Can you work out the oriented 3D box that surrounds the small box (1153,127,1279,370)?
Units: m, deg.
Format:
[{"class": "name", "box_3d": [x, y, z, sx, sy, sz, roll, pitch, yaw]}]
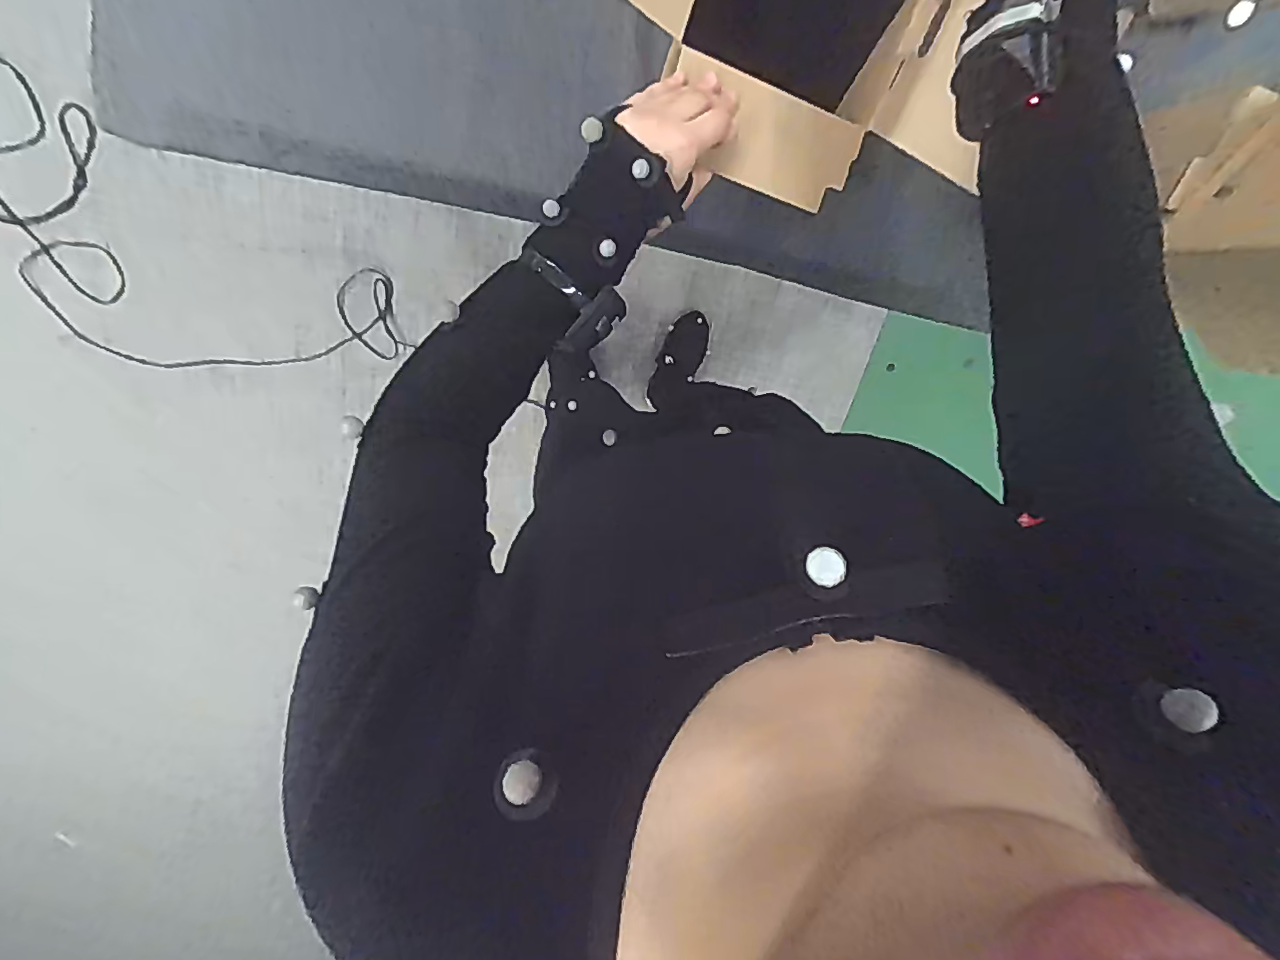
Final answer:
[{"class": "small box", "box_3d": [0.581, -0.191, 0.428, 0.179, 0.176, 0.168, 36, 104, -18]}]

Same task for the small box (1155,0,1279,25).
[{"class": "small box", "box_3d": [0.604, -0.532, 0.459, 0.168, 0.176, 0.179, -8, 116, 2]}]
